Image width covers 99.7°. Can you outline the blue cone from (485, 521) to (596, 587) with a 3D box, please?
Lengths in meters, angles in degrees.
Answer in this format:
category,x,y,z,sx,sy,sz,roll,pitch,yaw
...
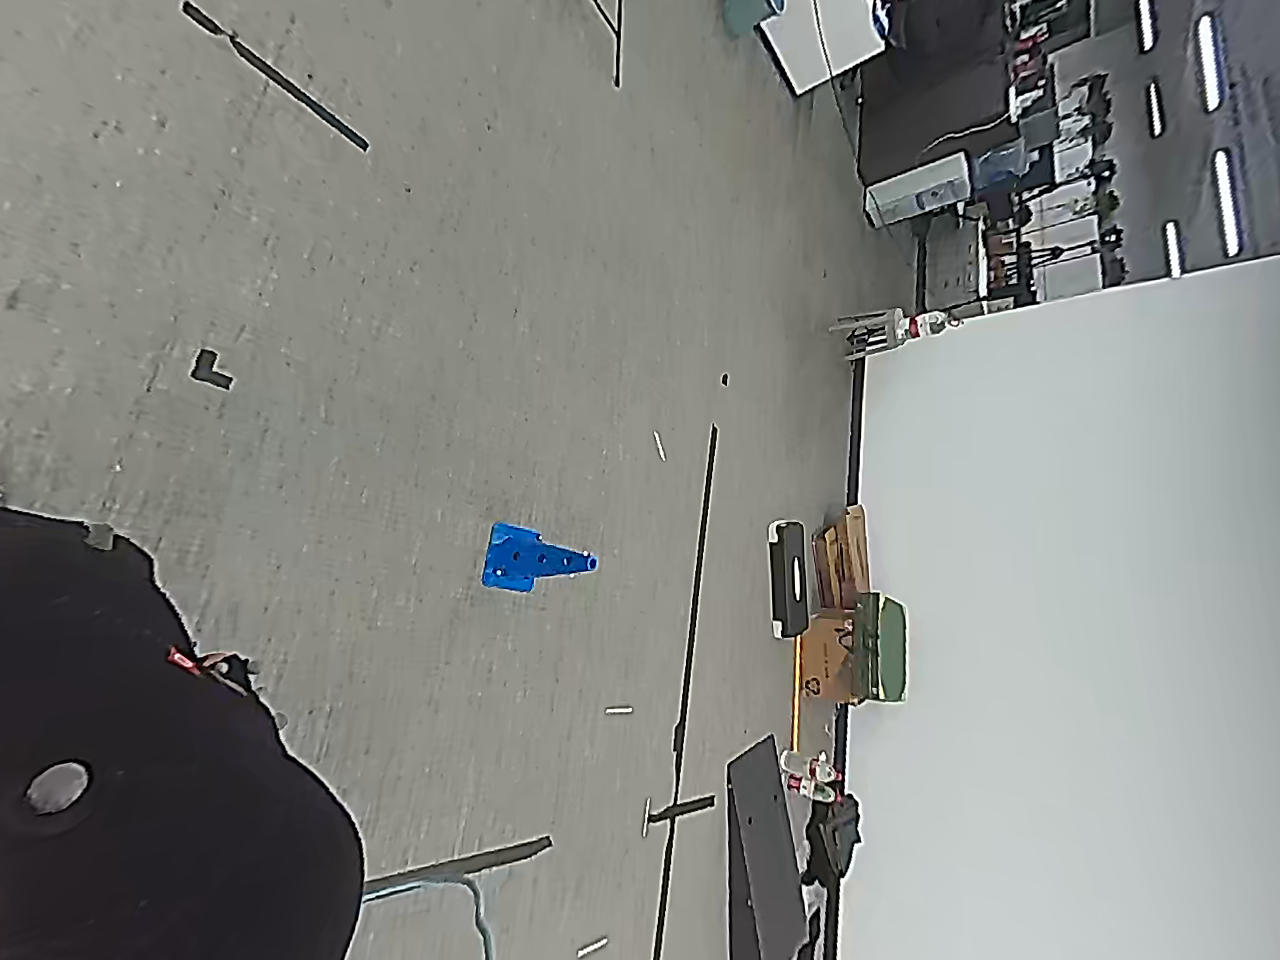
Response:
category,x,y,z,sx,sy,sz,roll,pitch,yaw
blue cone,-0.278,0.226,1.610,0.193,0.380,0.192,26,67,-47
